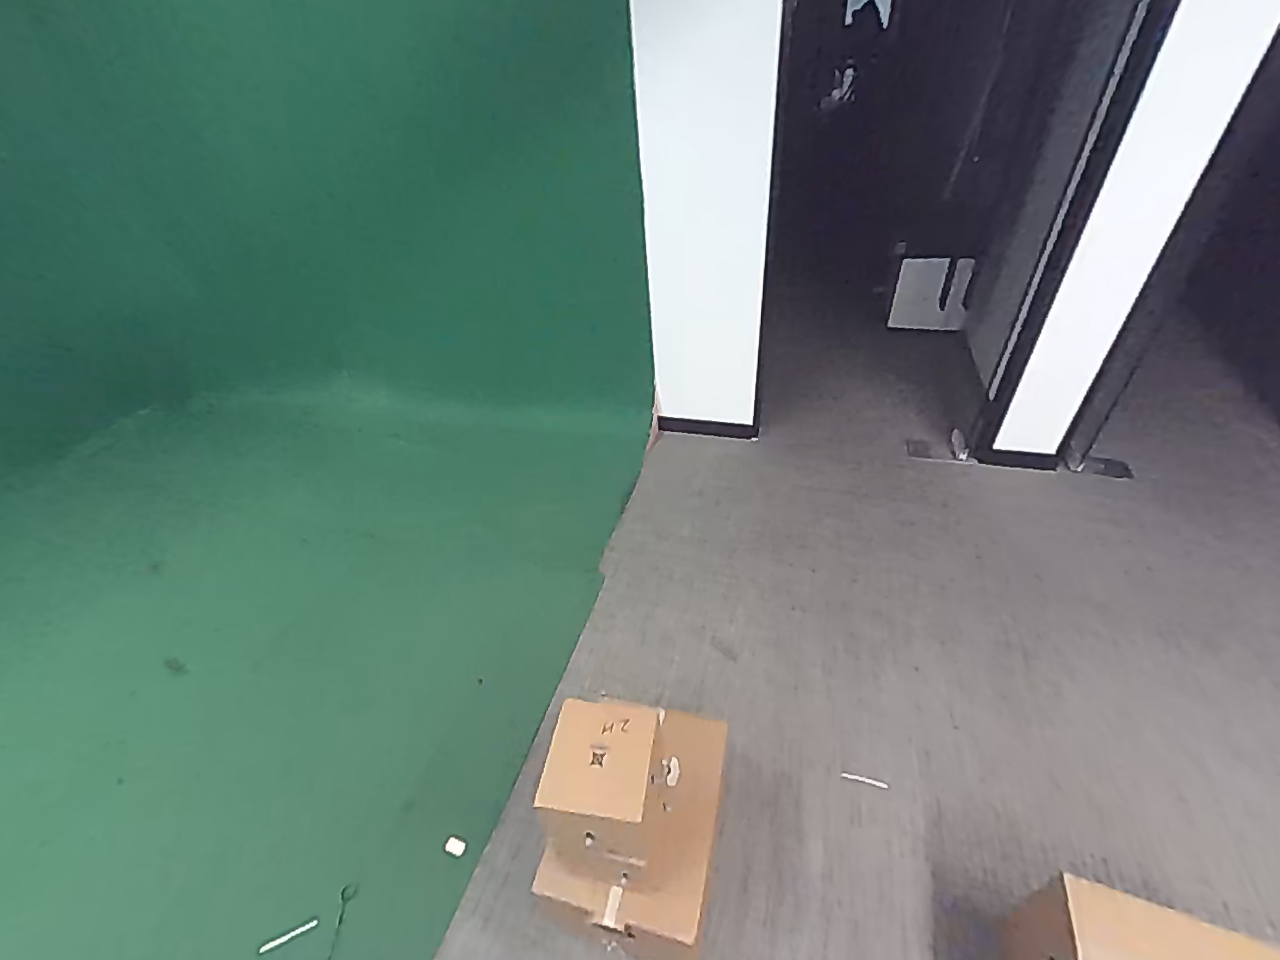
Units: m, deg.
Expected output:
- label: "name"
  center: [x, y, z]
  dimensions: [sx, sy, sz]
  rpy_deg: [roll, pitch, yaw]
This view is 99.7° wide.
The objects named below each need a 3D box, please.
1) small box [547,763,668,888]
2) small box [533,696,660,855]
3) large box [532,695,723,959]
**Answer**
- label: "small box"
  center: [-0.049, 0.625, 1.006]
  dimensions: [0.179, 0.176, 0.168]
  rpy_deg: [6, 40, 15]
- label: "small box"
  center: [-0.060, 0.495, 0.906]
  dimensions: [0.168, 0.176, 0.179]
  rpy_deg: [4, 39, 11]
- label: "large box"
  center: [0.004, 0.770, 1.207]
  dimensions: [0.320, 0.320, 0.408]
  rpy_deg: [7, 40, 15]
